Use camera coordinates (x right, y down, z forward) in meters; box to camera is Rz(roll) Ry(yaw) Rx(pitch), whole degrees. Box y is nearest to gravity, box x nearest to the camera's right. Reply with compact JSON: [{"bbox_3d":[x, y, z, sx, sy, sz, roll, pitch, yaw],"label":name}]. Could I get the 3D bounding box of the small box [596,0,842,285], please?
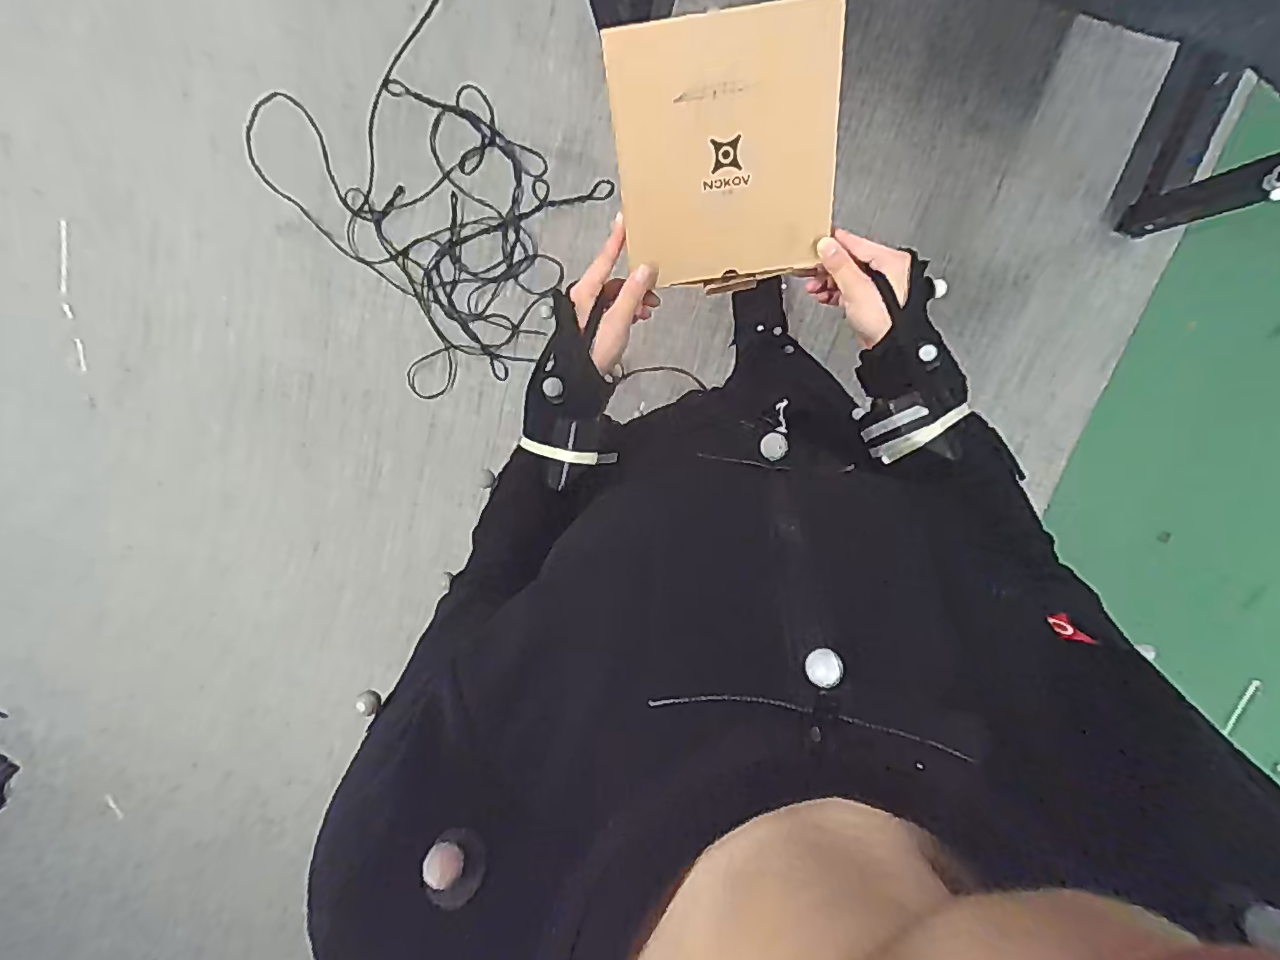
[{"bbox_3d":[0.060,-0.287,0.468,0.168,0.176,0.179,-8,122,3],"label":"small box"}]
